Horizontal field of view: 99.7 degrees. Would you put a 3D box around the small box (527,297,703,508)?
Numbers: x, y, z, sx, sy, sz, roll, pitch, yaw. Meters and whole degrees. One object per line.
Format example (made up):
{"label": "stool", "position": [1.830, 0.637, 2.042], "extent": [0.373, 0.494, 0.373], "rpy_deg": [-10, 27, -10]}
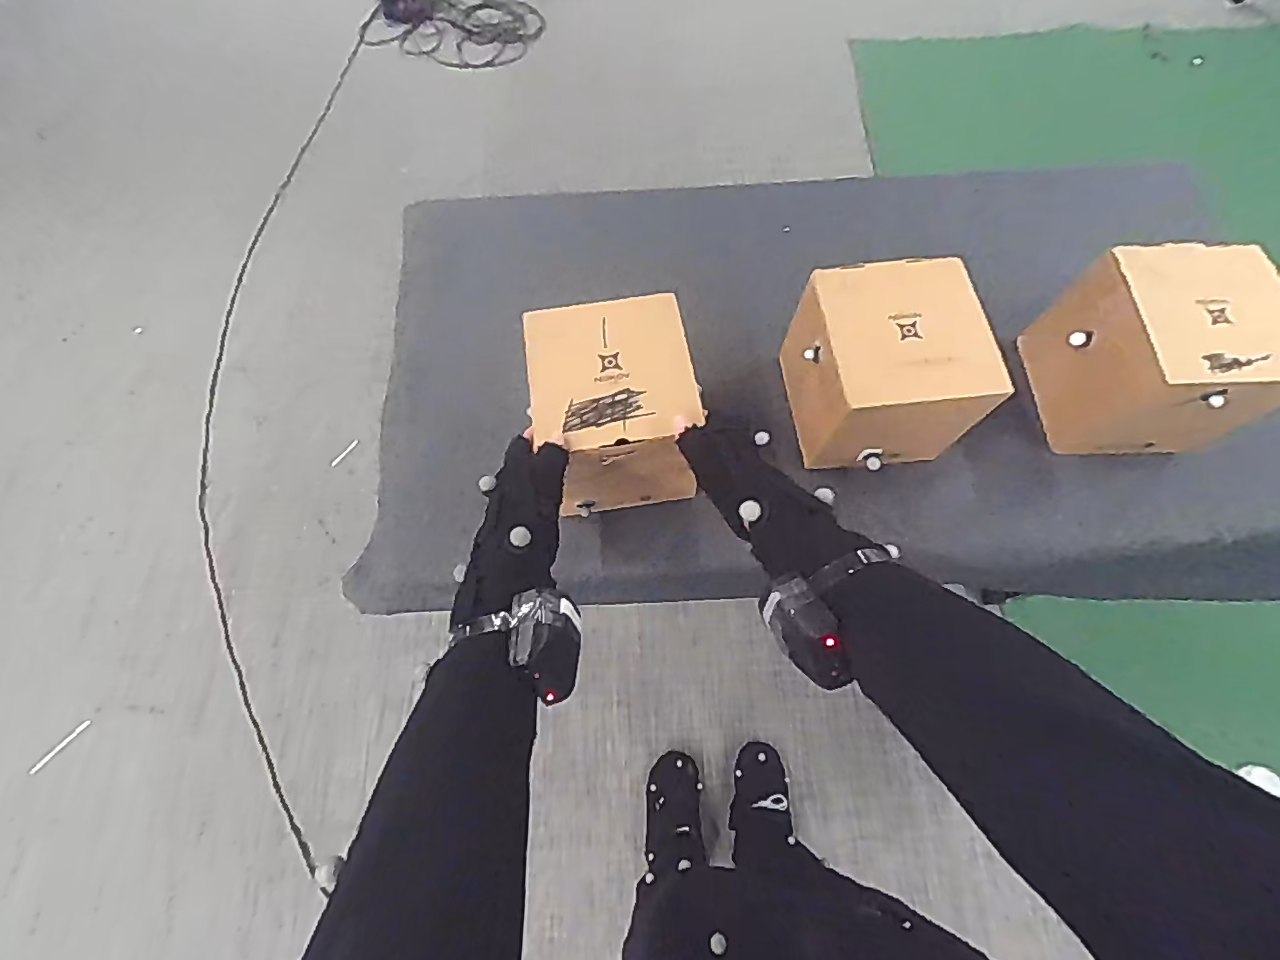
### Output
{"label": "small box", "position": [-0.026, -0.076, 0.621], "extent": [0.168, 0.176, 0.179], "rpy_deg": [-8, 66, -2]}

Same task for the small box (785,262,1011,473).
{"label": "small box", "position": [0.281, -0.124, 0.639], "extent": [0.168, 0.176, 0.179], "rpy_deg": [-6, 69, 0]}

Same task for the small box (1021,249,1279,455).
{"label": "small box", "position": [0.596, -0.143, 0.637], "extent": [0.168, 0.176, 0.179], "rpy_deg": [-1, 68, 1]}
